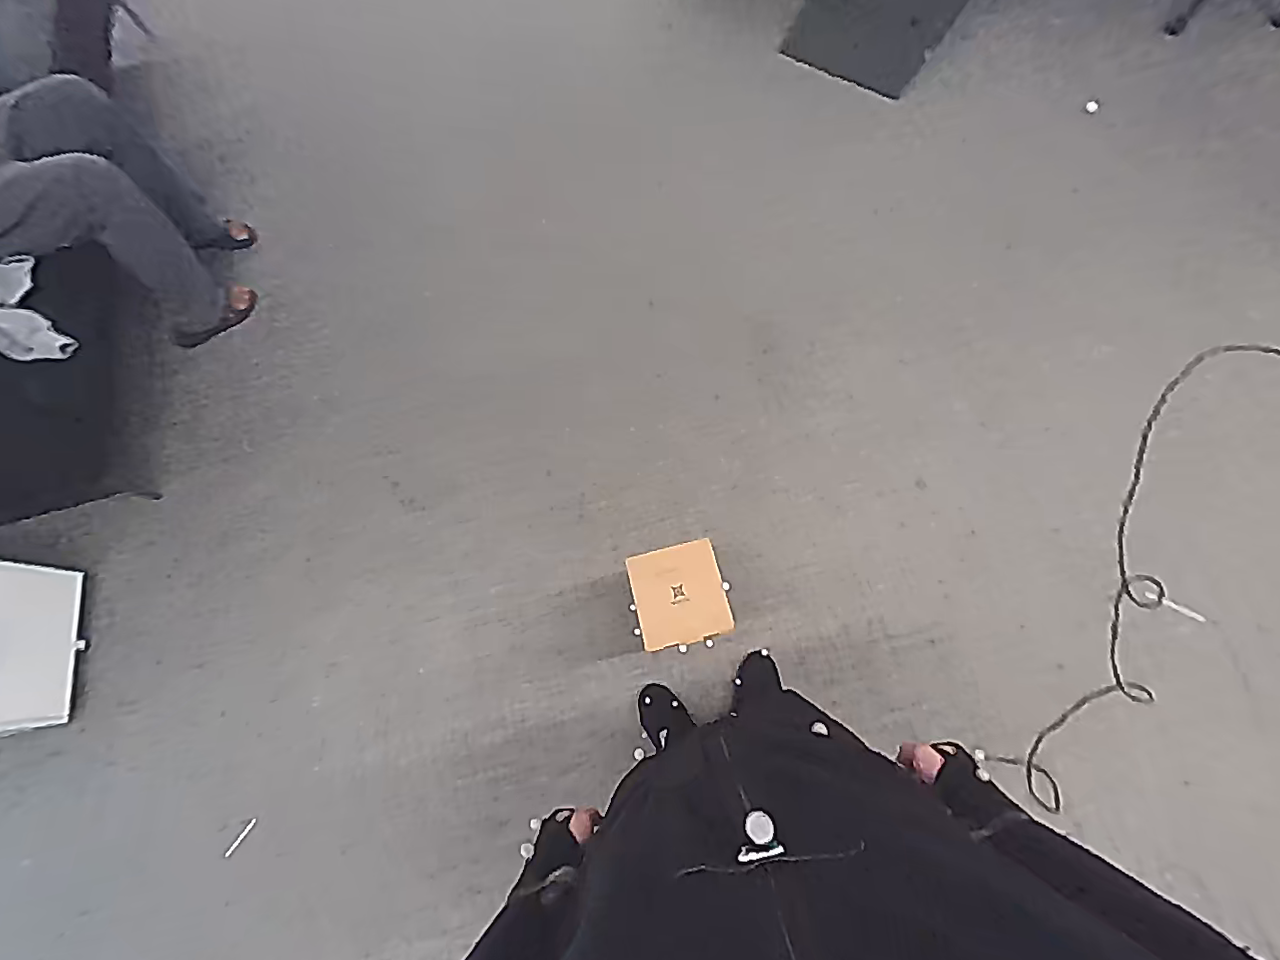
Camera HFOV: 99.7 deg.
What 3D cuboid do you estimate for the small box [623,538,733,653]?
[{"bbox_3d":[0.071,0.228,1.052,0.168,0.176,0.179,-14,72,-3],"label":"small box"}]
